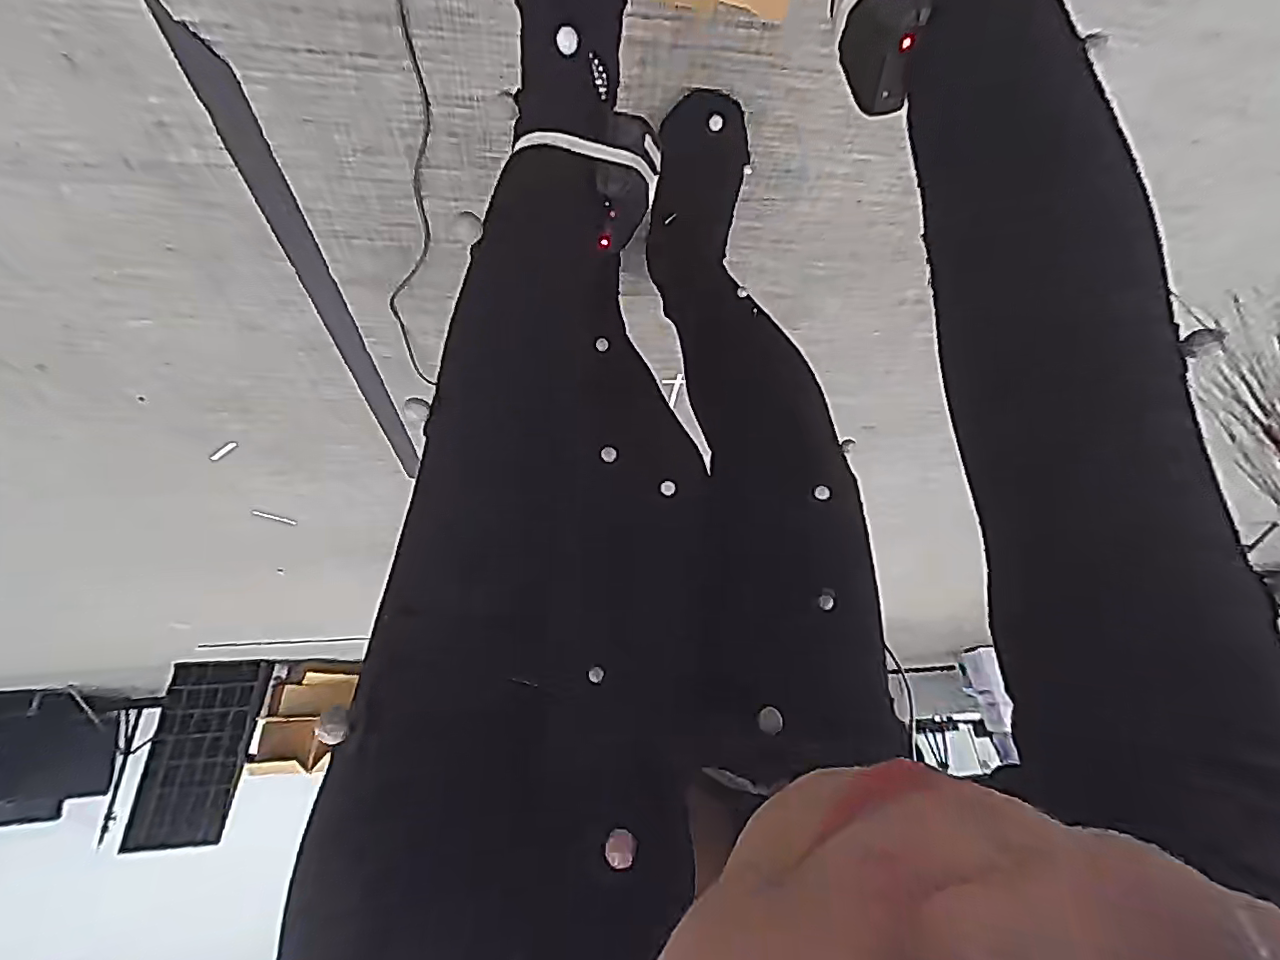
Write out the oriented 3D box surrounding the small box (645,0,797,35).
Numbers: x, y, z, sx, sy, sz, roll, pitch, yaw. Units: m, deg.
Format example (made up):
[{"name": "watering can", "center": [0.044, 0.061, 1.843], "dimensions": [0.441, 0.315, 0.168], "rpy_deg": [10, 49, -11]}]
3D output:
[{"name": "small box", "center": [0.049, -0.454, 0.350], "dimensions": [0.168, 0.176, 0.179], "rpy_deg": [1, 158, -16]}]
